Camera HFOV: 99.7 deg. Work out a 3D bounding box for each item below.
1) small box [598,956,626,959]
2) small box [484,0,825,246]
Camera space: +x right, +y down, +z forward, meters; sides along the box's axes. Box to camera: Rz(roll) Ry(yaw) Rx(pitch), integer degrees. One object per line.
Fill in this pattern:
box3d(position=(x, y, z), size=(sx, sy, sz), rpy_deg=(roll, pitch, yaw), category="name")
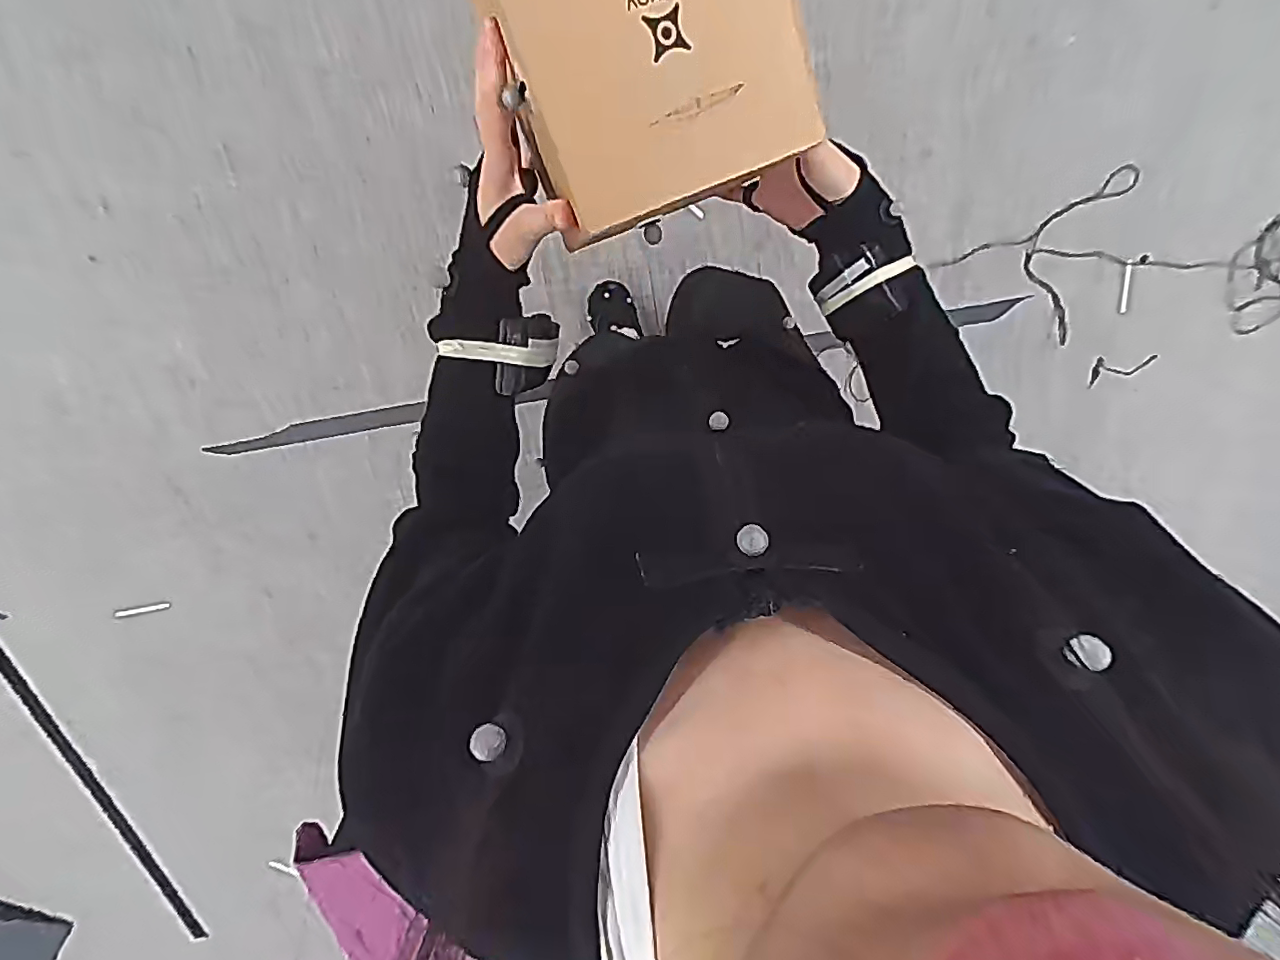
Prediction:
box3d(position=(-0.102, 1.060, 1.028), size=(0.179, 0.176, 0.168), rpy_deg=(-8, 109, -2), category="small box")
box3d(position=(-0.003, -0.283, 0.376), size=(0.168, 0.176, 0.179), rpy_deg=(-23, 112, -4), category="small box")
